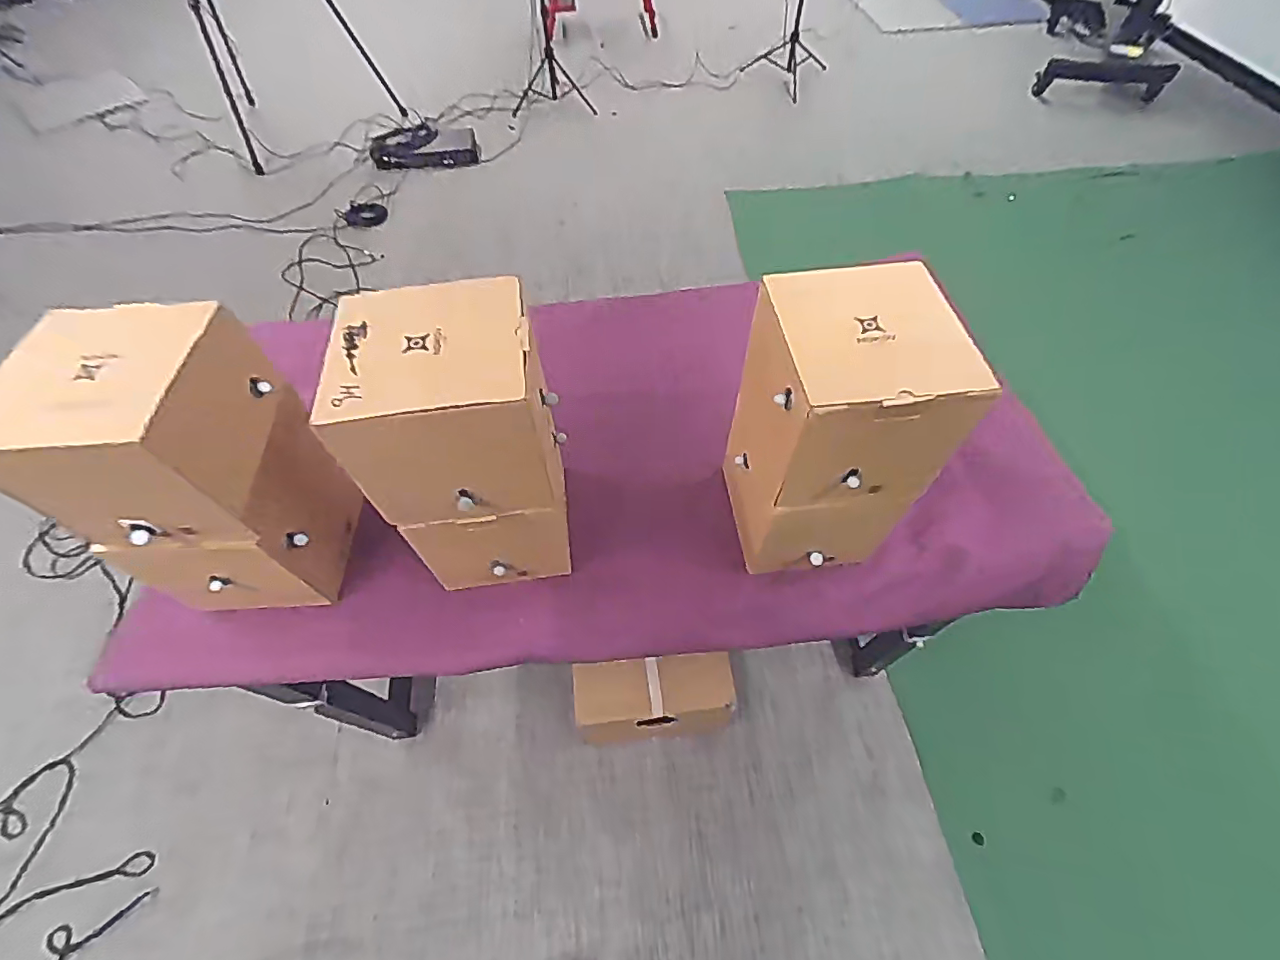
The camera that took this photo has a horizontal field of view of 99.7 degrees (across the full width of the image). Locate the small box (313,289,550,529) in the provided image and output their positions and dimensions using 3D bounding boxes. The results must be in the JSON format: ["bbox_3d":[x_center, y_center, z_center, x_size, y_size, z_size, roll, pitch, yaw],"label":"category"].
[{"bbox_3d":[-0.187,-0.067,0.547,0.179,0.176,0.168,-7,55,-5],"label":"small box"}]

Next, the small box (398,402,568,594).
[{"bbox_3d":[-0.185,0.023,0.684,0.168,0.176,0.179,-7,56,-4],"label":"small box"}]

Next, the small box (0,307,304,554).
[{"bbox_3d":[-0.470,-0.045,0.534,0.168,0.176,0.179,-4,56,-1],"label":"small box"}]

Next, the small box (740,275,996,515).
[{"bbox_3d":[0.210,-0.084,0.561,0.168,0.176,0.179,-6,57,-4],"label":"small box"}]

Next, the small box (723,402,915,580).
[{"bbox_3d":[0.209,0.010,0.694,0.168,0.176,0.179,-6,57,-3],"label":"small box"}]
